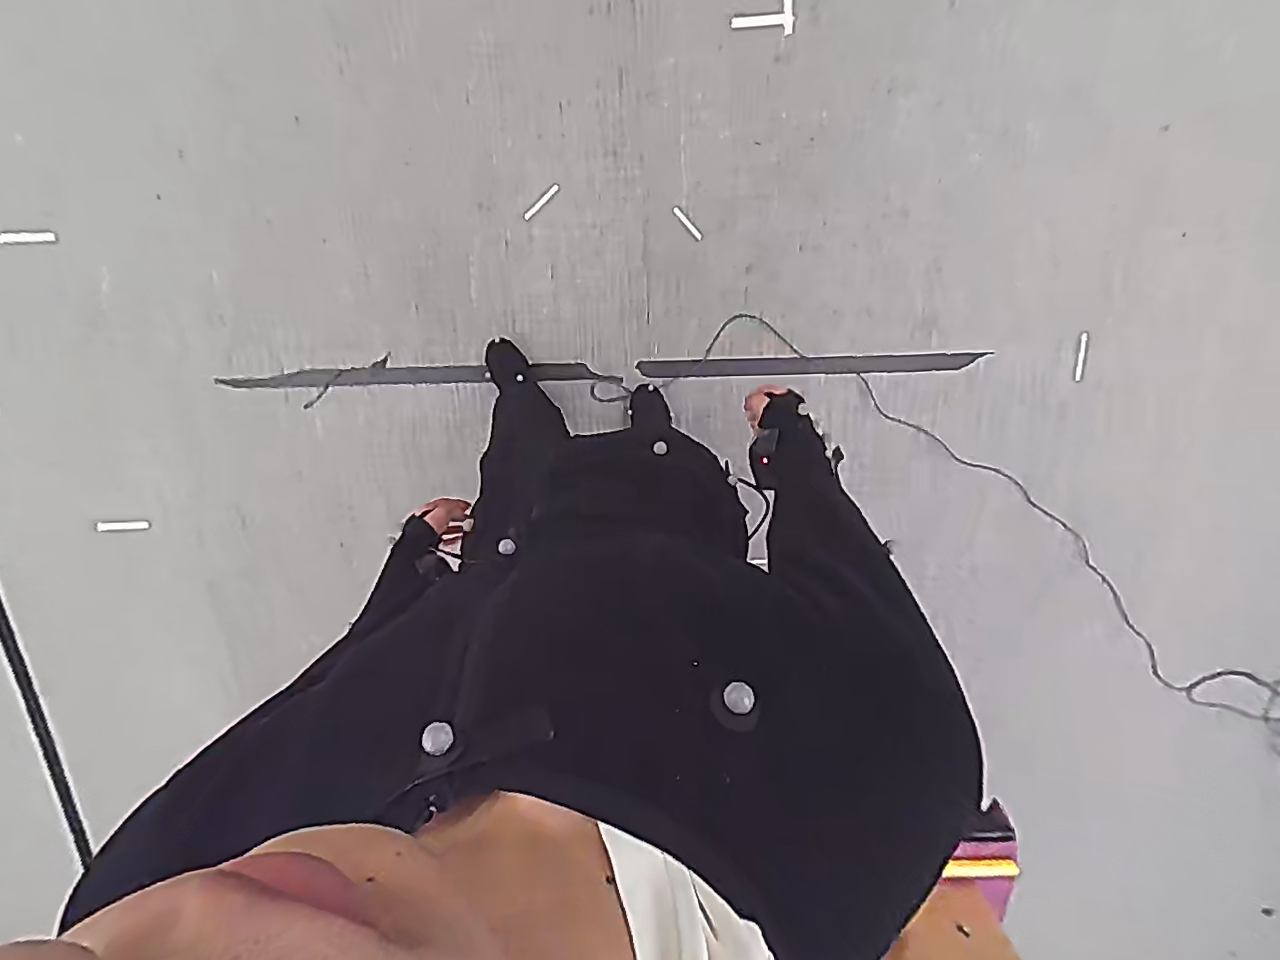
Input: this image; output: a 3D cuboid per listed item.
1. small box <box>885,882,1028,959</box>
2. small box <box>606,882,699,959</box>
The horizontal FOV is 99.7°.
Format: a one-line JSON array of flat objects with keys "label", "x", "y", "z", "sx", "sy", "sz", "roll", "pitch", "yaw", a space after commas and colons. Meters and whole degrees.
[{"label": "small box", "x": 0.594, "y": 0.905, "z": 1.027, "sx": 0.179, "sy": 0.176, "sz": 0.168, "roll": 2, "pitch": 103, "yaw": -2}, {"label": "small box", "x": 0.025, "y": 0.901, "z": 1.011, "sx": 0.168, "sy": 0.176, "sz": 0.179, "roll": -4, "pitch": 106, "yaw": -1}]
